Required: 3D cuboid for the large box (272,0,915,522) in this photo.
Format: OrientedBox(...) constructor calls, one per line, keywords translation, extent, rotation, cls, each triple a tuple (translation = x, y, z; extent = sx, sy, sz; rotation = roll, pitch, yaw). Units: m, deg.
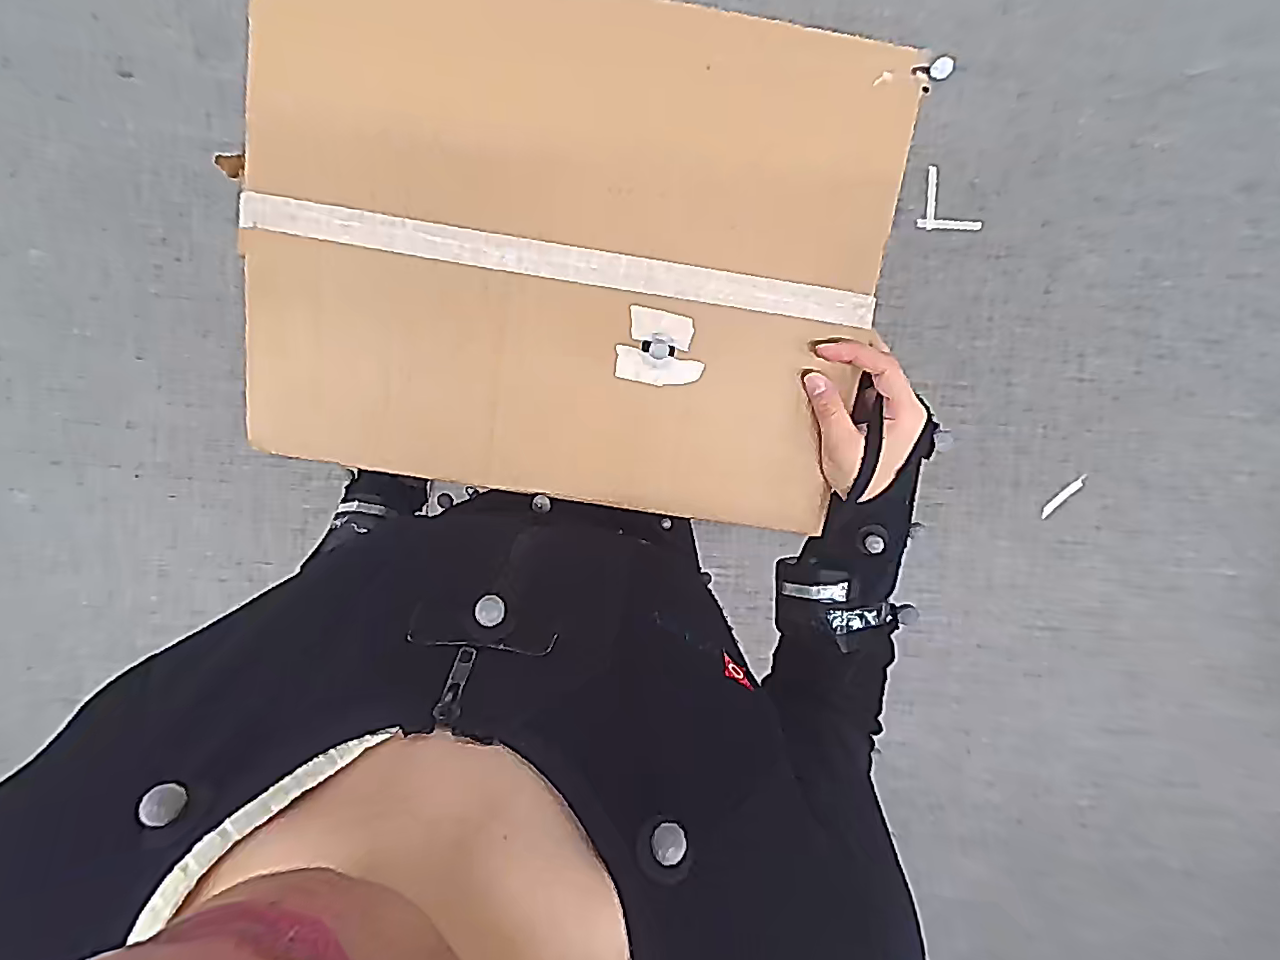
OrientedBox(translation=(-0.046, -0.168, 0.506), extent=(0.408, 0.320, 0.320), rotation=(8, 102, -4), cls="large box")
